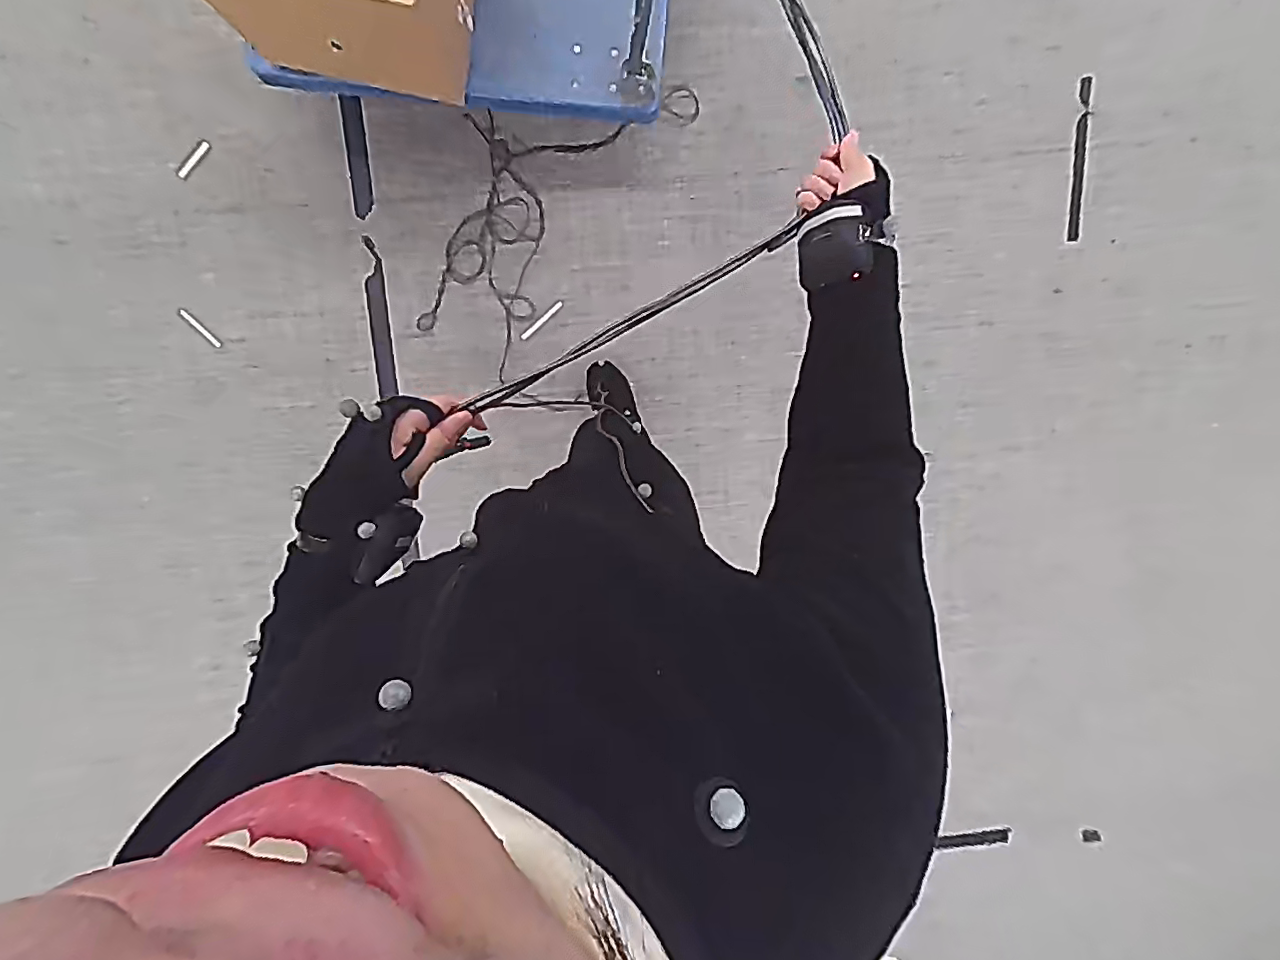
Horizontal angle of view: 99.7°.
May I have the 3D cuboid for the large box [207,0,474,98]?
[{"bbox_3d":[-0.534,-0.954,0.964,0.408,0.320,0.320,9,98,-4],"label":"large box"}]
